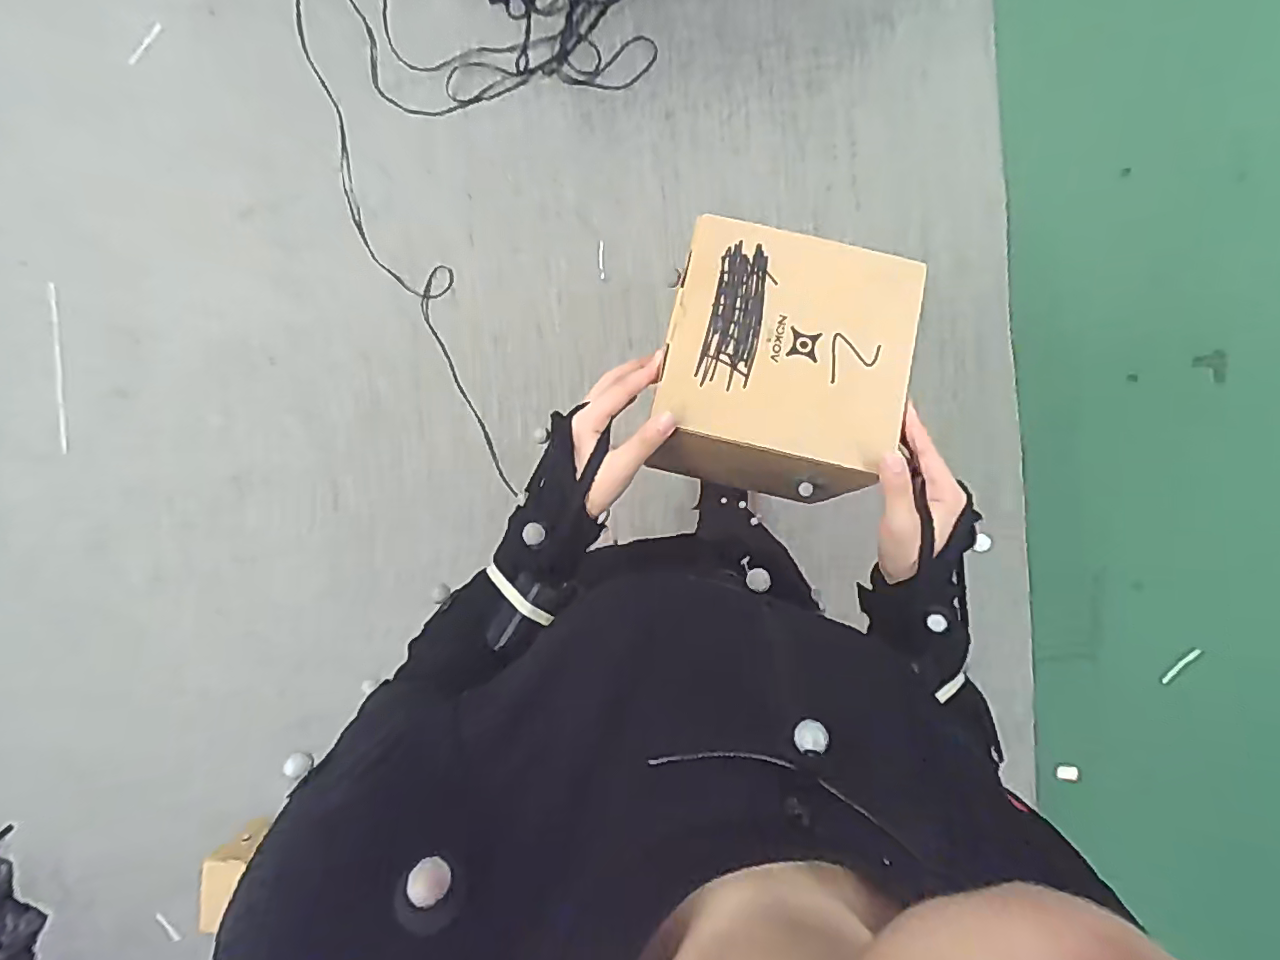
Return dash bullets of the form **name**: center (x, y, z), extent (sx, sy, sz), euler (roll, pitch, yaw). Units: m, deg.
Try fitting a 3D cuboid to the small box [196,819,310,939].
- **small box**: center (-0.967, 0.995, 1.364), extent (0.168, 0.176, 0.179), euler (3, 91, 5)
